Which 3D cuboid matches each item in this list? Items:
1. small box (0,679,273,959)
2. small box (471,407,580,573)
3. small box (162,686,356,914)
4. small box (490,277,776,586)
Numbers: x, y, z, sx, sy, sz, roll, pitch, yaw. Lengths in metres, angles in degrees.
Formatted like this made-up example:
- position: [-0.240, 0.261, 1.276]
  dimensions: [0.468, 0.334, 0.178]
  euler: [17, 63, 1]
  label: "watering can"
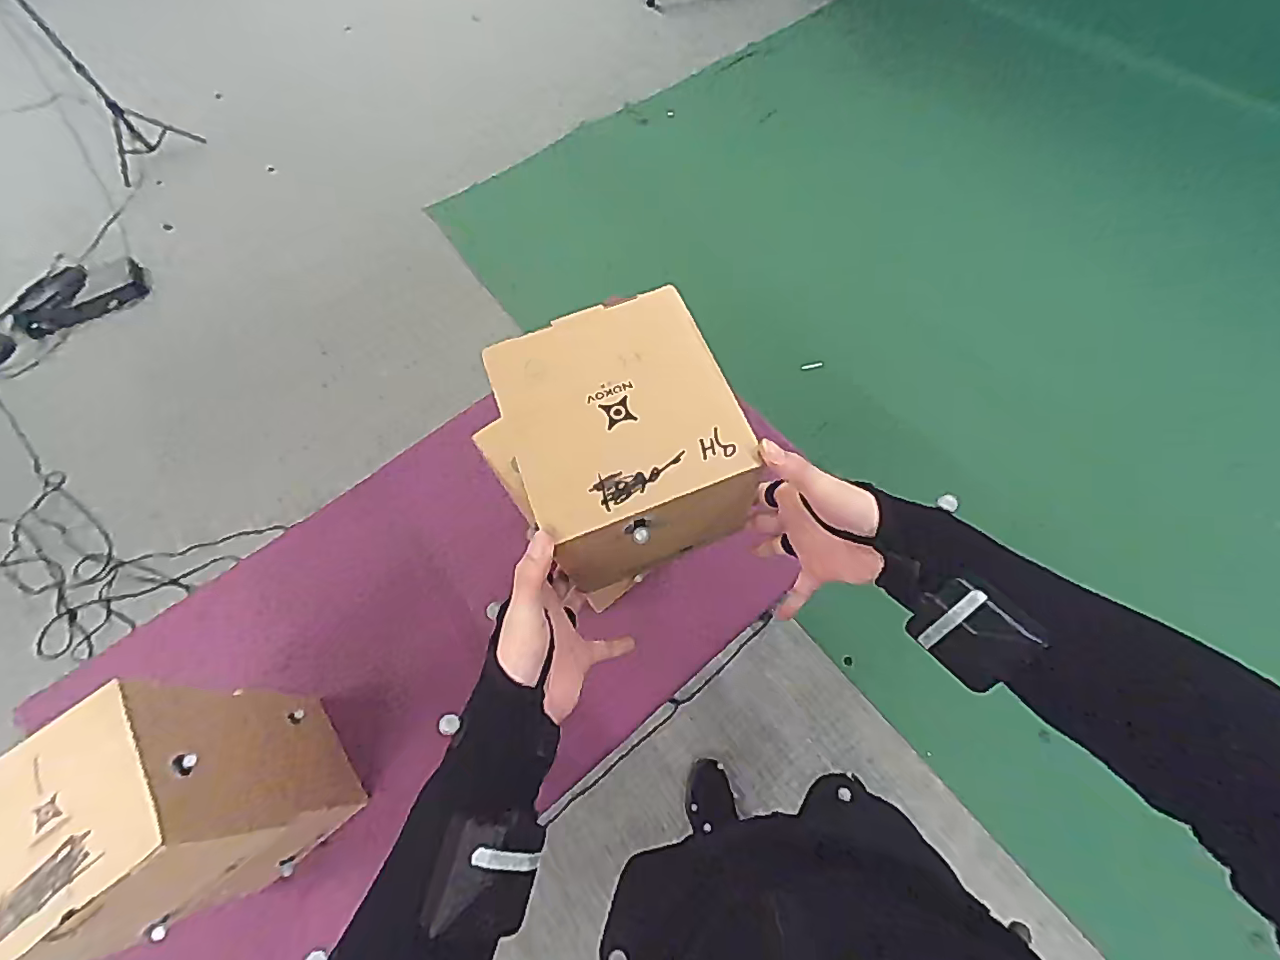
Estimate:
- position: [-0.506, 0.323, 0.525]
  dimensions: [0.168, 0.176, 0.179]
  euler: [-37, 65, -13]
  label: "small box"
- position: [-0.069, -0.006, 0.659]
  dimensions: [0.168, 0.176, 0.179]
  euler: [-37, 66, -14]
  label: "small box"
- position: [-0.499, 0.390, 0.674]
  dimensions: [0.168, 0.176, 0.179]
  euler: [-37, 67, -14]
  label: "small box"
- position: [-0.008, -0.030, 0.460]
  dimensions: [0.168, 0.176, 0.179]
  euler: [-20, 68, -4]
  label: "small box"
